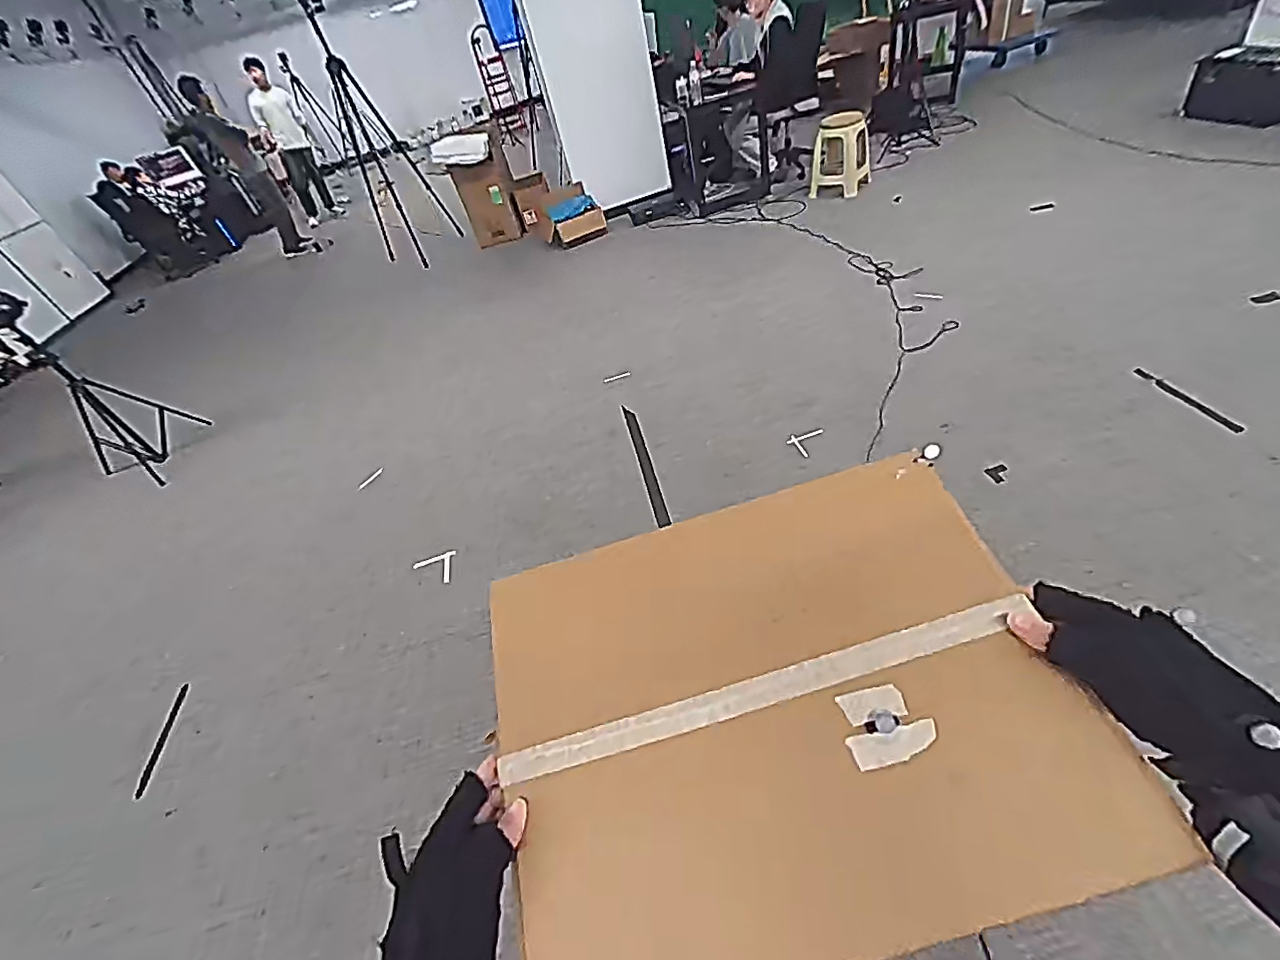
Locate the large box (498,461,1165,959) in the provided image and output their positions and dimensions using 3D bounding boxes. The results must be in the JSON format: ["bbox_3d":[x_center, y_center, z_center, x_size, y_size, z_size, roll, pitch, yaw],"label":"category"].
[{"bbox_3d":[0.120,0.243,0.531,0.408,0.320,0.320,-18,55,0],"label":"large box"}]
